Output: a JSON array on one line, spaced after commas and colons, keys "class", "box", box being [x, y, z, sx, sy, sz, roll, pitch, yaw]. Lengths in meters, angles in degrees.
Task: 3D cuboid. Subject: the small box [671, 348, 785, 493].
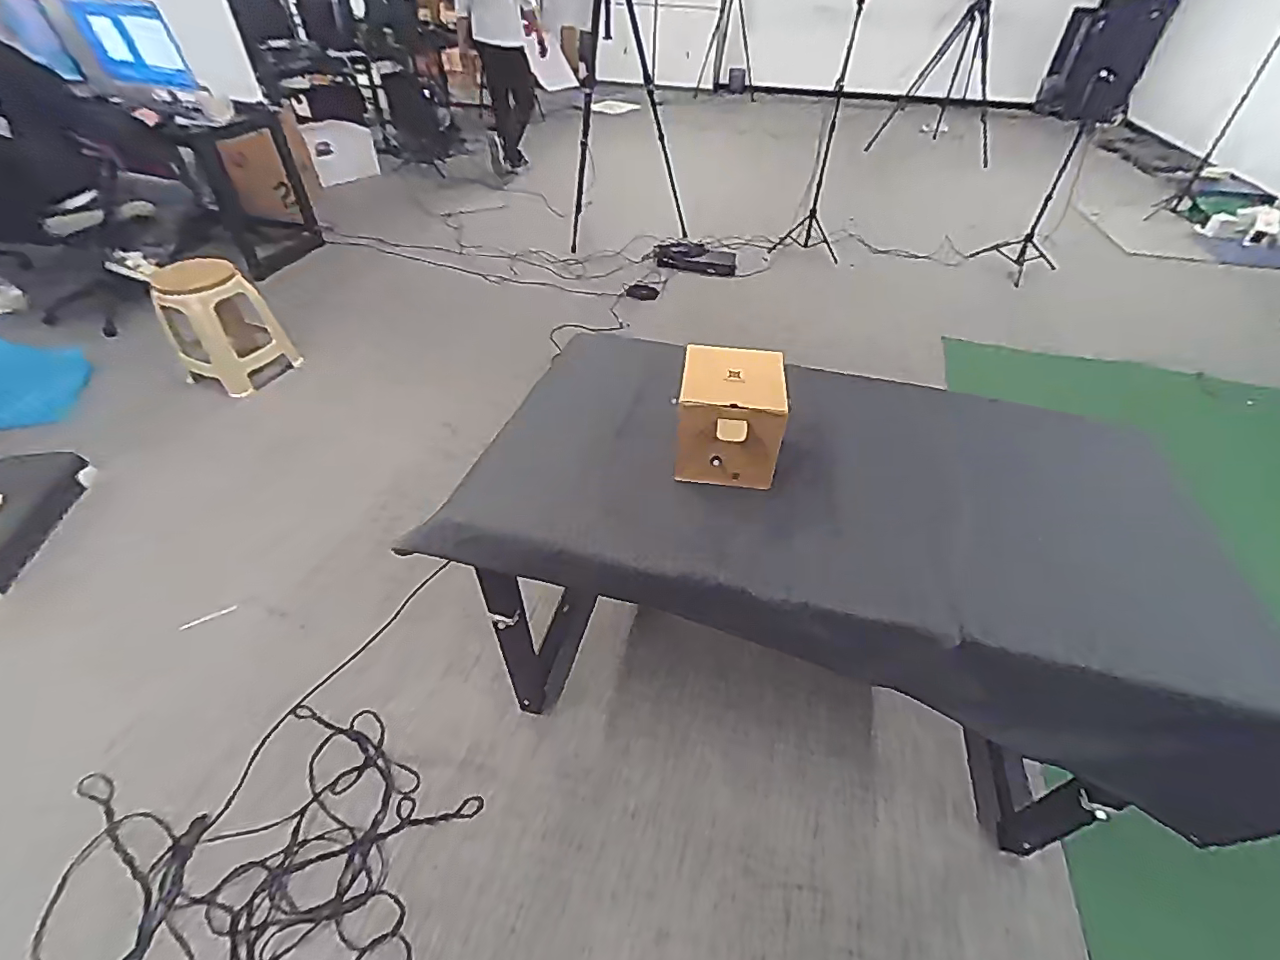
[{"class": "small box", "box": [0.144, -0.103, 0.929, 0.168, 0.176, 0.179, 6, 44, 3]}]
